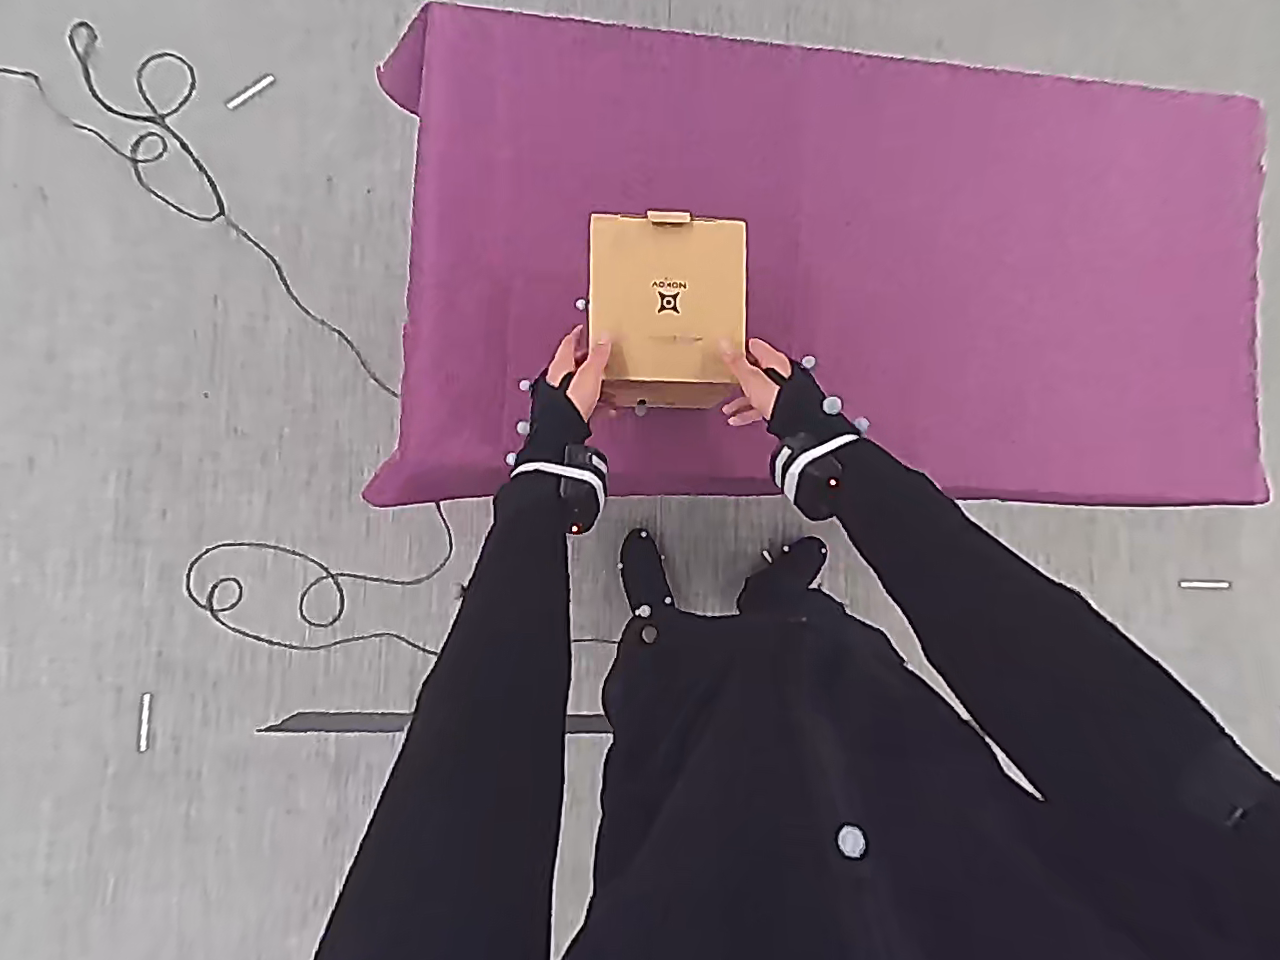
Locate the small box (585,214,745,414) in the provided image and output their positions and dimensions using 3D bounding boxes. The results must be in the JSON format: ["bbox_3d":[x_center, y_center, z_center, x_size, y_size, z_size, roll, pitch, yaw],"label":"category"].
[{"bbox_3d":[0.020,-0.180,0.634,0.168,0.176,0.179,1,88,-4],"label":"small box"}]
